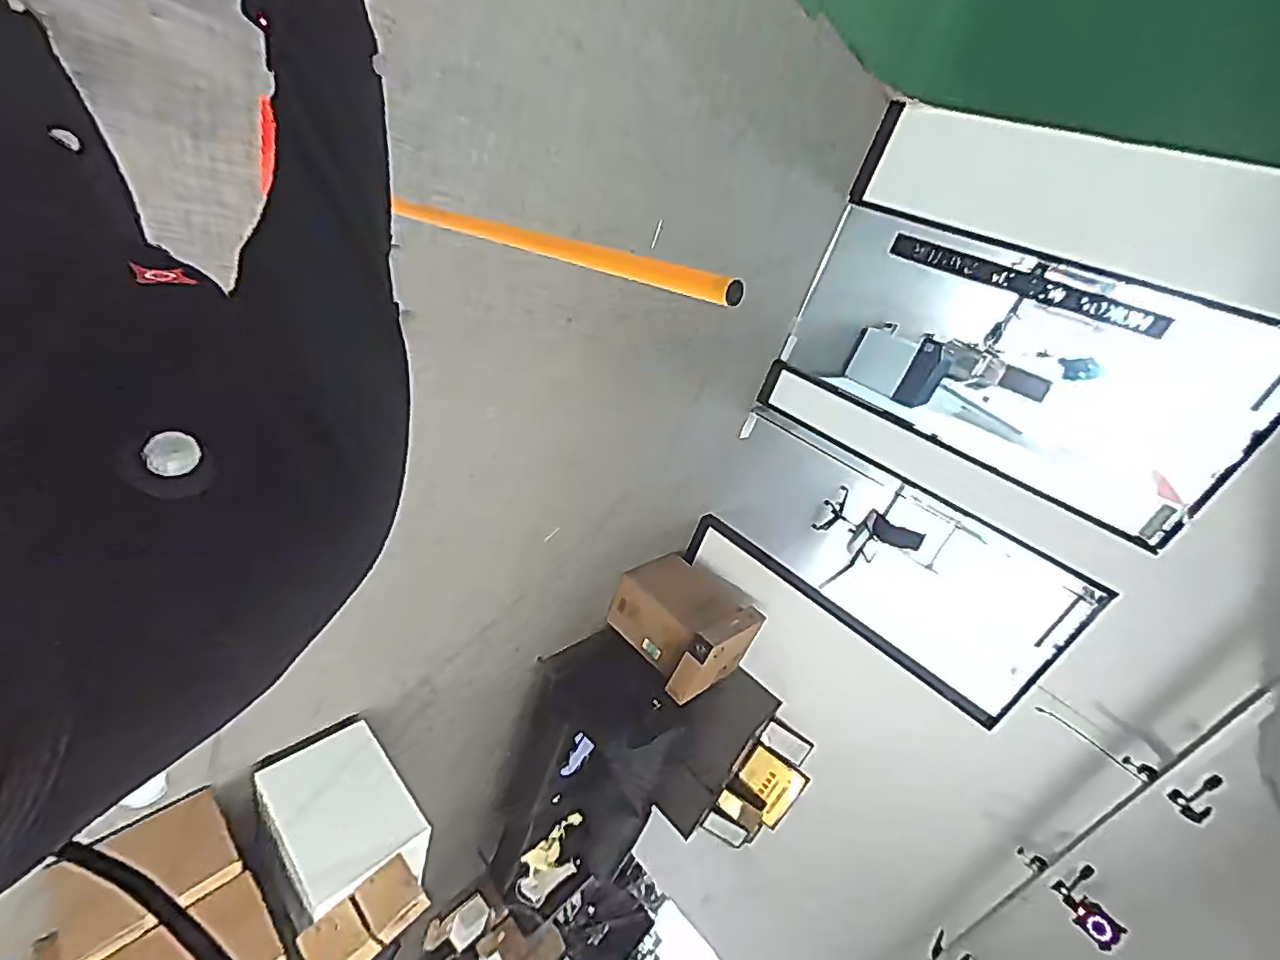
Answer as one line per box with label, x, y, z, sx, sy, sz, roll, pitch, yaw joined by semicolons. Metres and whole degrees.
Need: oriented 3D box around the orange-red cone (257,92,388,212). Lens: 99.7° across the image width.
orange-red cone;-0.615;-0.626;1.109;0.199;0.360;0.198;-10;129;-48
